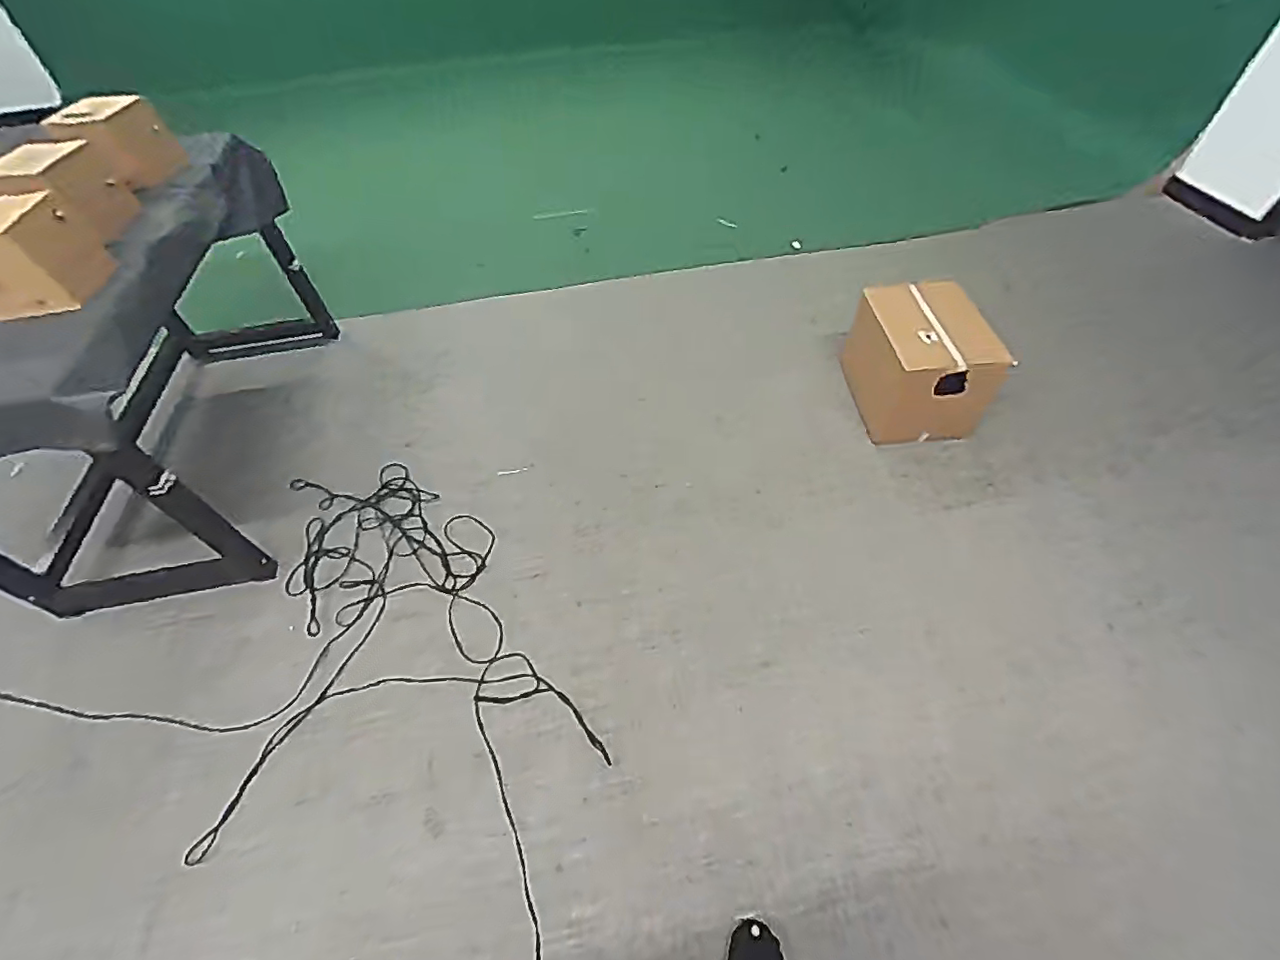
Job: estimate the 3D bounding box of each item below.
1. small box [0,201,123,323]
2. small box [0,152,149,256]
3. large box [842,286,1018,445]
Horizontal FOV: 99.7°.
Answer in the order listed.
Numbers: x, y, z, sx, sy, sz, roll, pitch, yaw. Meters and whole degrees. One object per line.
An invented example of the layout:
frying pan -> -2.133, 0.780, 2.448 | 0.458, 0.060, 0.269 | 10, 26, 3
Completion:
small box -> -1.239, -0.441, 1.114 | 0.168, 0.176, 0.179 | -10, 51, -2
small box -> -1.343, -0.655, 1.292 | 0.168, 0.176, 0.179 | -3, 53, 4
large box -> 0.895, -0.370, 1.741 | 0.320, 0.320, 0.408 | -5, 53, 1
